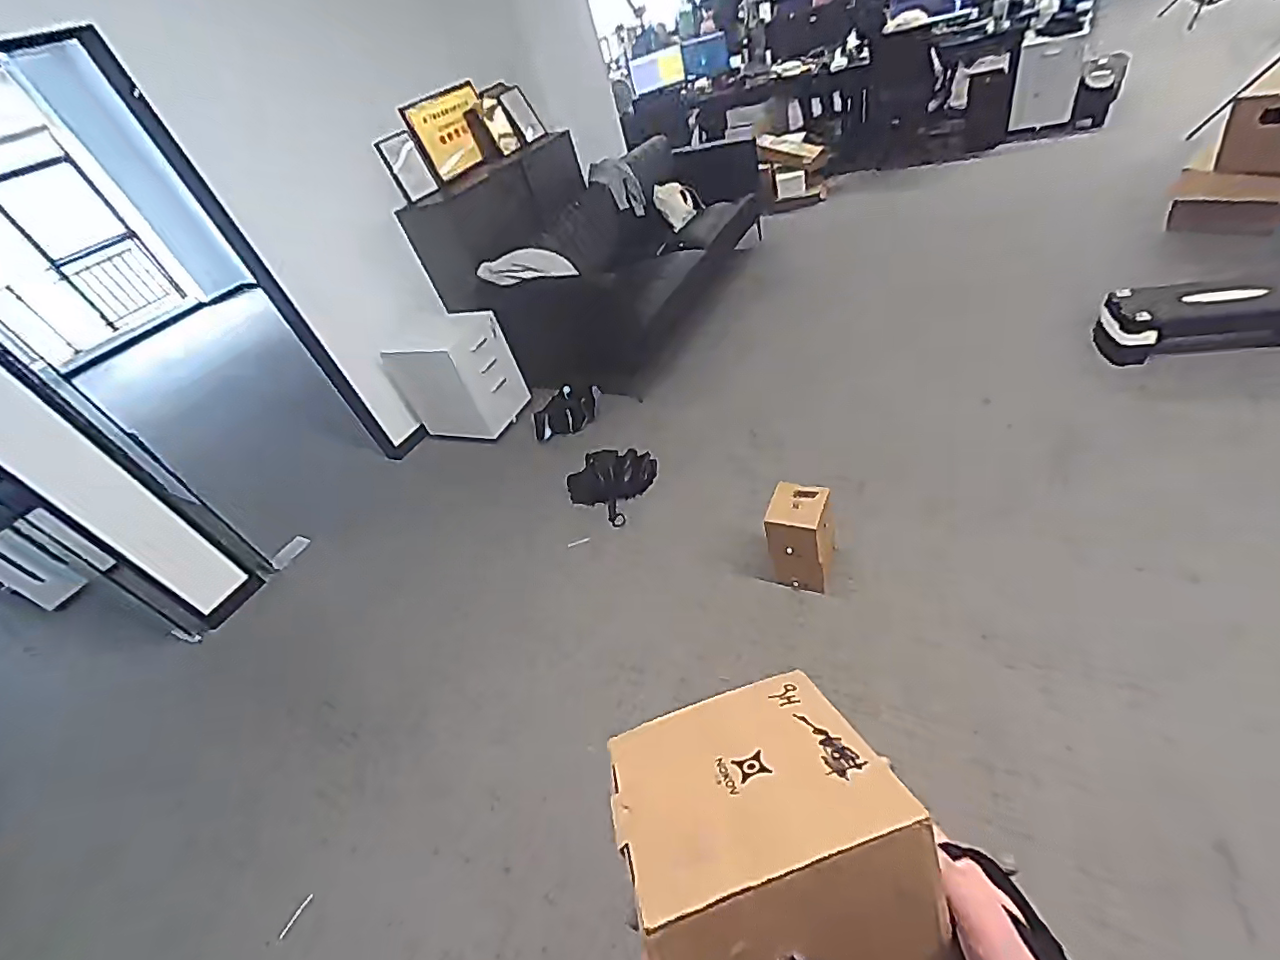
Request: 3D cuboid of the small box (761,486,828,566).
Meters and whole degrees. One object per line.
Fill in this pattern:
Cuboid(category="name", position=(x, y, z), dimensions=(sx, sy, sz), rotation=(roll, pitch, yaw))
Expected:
Cuboid(category="small box", position=(0.505, 0.147, 1.746), dimensions=(0.168, 0.176, 0.179), rotation=(8, 47, 30))

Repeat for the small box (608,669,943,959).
Cuboid(category="small box", position=(0.090, 0.276, 0.392), dimensions=(0.179, 0.176, 0.168), rotation=(-17, 13, -7))

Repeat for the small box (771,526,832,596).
Cuboid(category="small box", position=(0.557, 0.265, 1.849), dimensions=(0.168, 0.176, 0.179), rotation=(6, 47, 30))
